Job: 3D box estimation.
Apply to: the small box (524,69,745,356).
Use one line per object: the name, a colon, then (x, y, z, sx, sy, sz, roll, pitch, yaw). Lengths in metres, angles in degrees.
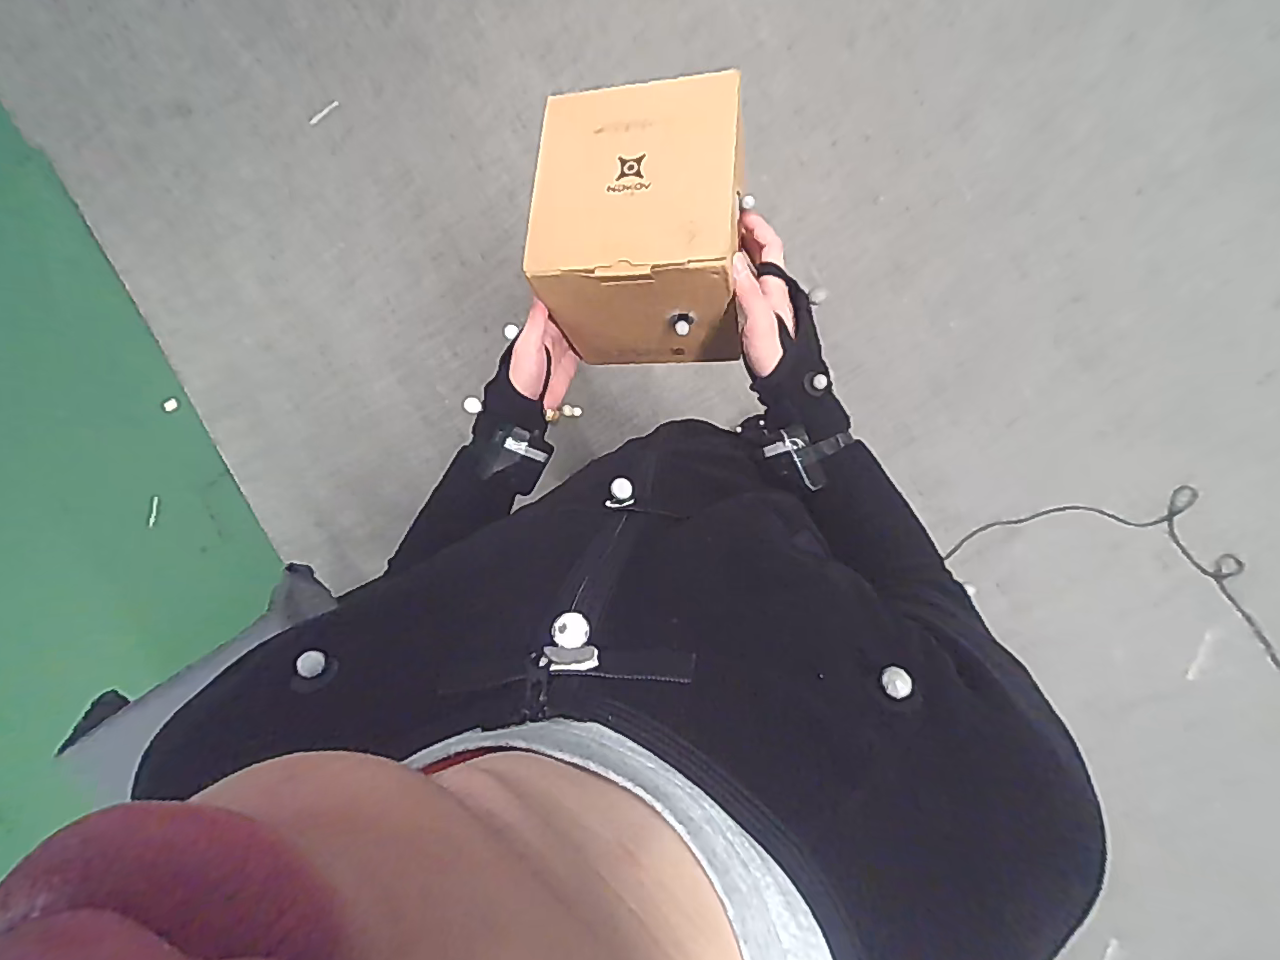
small box: (0.010, -0.226, 0.504, 0.168, 0.176, 0.179, 2, 76, 12)
